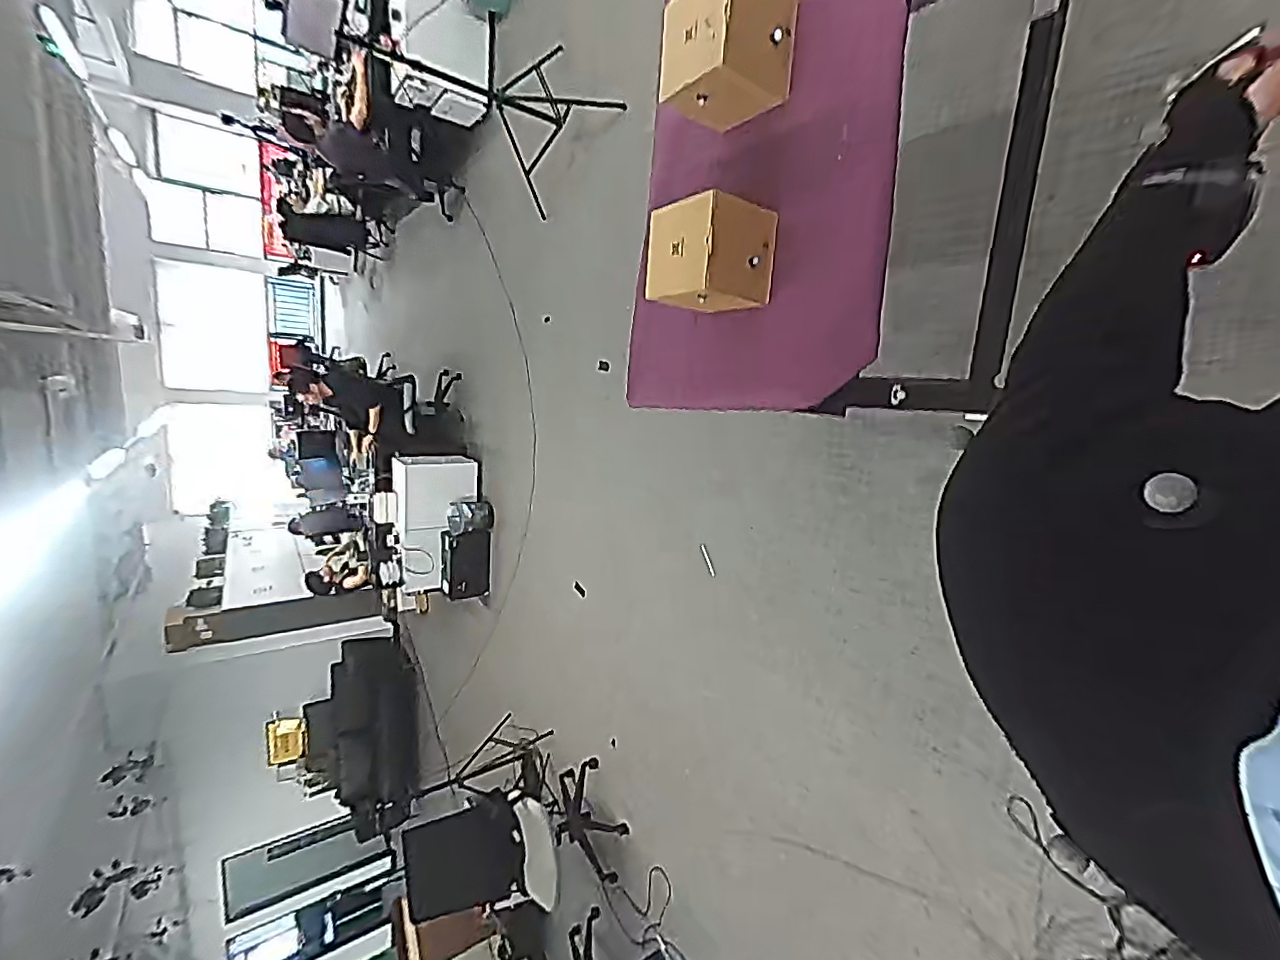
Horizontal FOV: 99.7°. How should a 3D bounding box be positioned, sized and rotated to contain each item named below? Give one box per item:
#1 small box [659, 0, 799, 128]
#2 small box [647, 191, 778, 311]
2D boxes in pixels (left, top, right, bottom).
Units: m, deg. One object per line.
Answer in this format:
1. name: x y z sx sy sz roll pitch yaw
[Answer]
1. small box: 0.157 -0.773 0.979 0.179 0.176 0.168 17 107 52
2. small box: 0.136 -0.425 1.037 0.179 0.176 0.168 15 104 52
